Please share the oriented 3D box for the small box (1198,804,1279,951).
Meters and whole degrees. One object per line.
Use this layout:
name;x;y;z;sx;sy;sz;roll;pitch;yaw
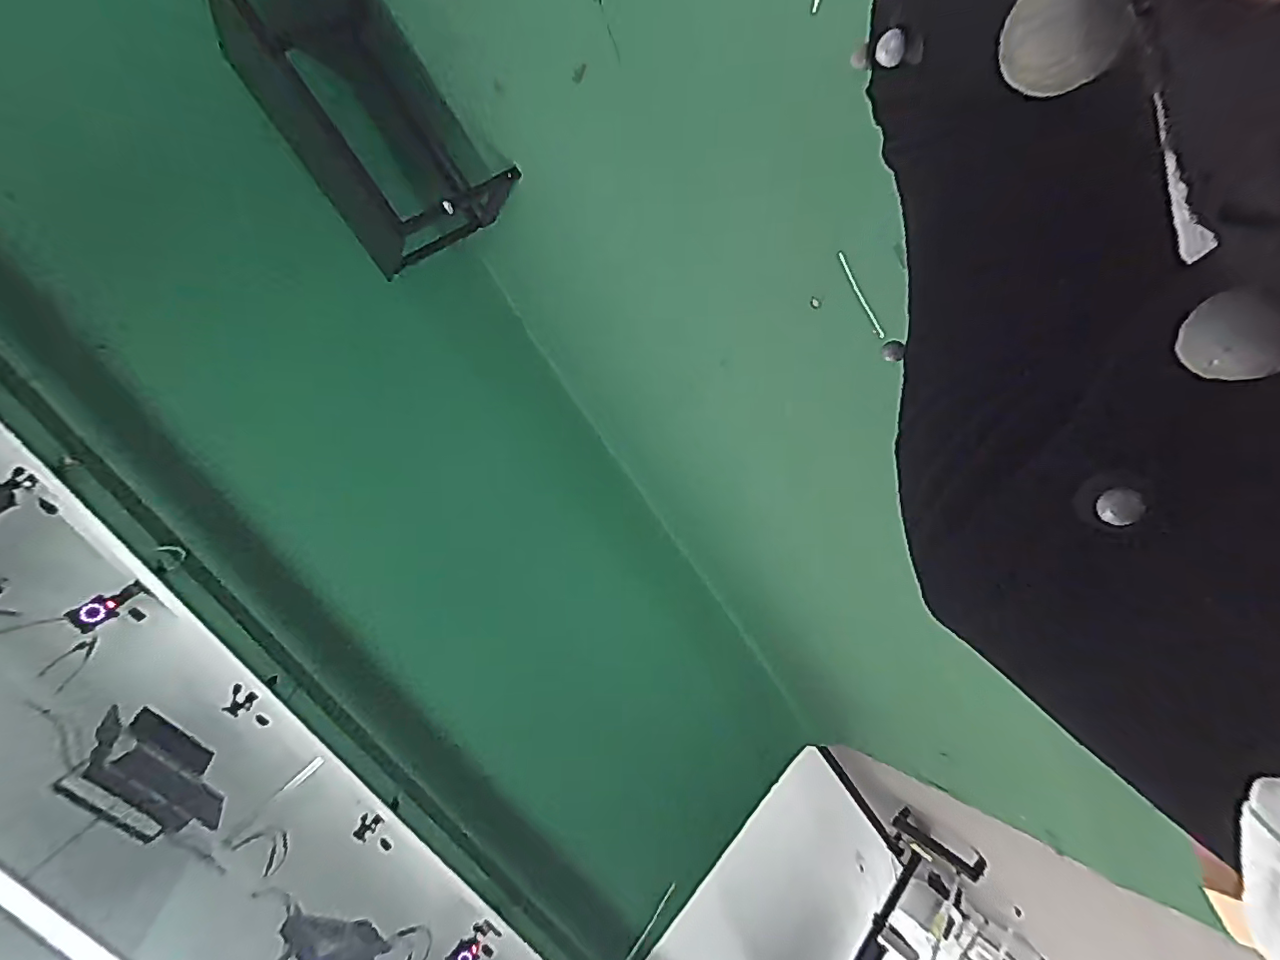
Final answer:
small box;1.196;0.756;1.004;0.179;0.176;0.168;54;155;-13
